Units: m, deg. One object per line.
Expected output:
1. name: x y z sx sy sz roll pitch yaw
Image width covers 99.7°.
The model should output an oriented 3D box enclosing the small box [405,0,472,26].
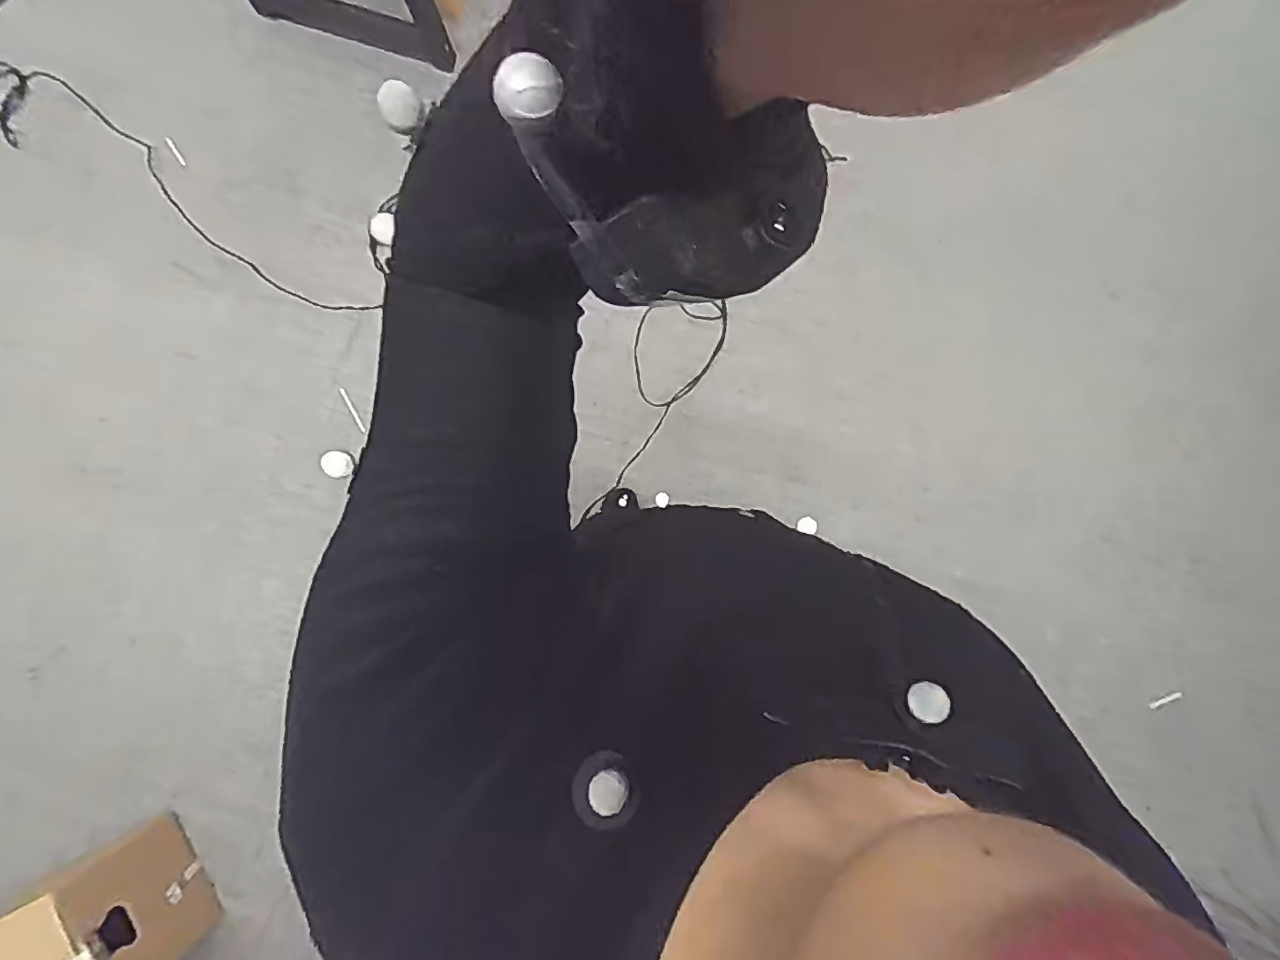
1. small box: -0.557 -1.396 1.469 0.179 0.176 0.168 21 88 0
